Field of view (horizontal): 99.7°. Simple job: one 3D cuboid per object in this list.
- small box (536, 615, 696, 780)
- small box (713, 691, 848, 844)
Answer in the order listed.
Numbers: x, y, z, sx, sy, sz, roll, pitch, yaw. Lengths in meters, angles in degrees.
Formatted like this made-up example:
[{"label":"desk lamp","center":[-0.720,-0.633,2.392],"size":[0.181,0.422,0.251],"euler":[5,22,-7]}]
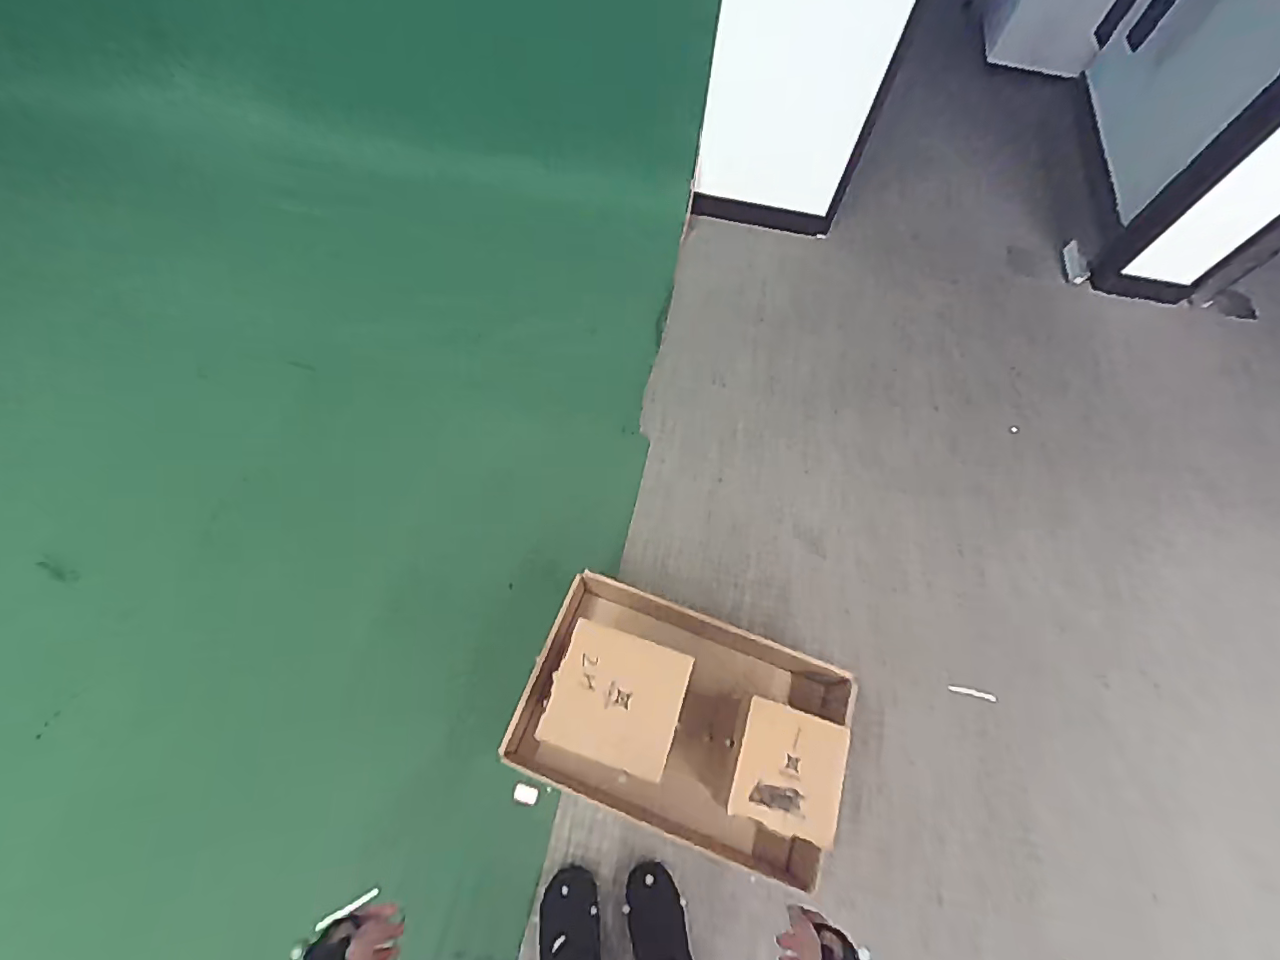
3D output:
[{"label":"small box","center":[-0.035,0.318,0.804],"size":[0.179,0.176,0.168],"euler":[19,67,4]},{"label":"small box","center":[0.230,0.480,0.923],"size":[0.168,0.176,0.179],"euler":[18,66,6]}]
